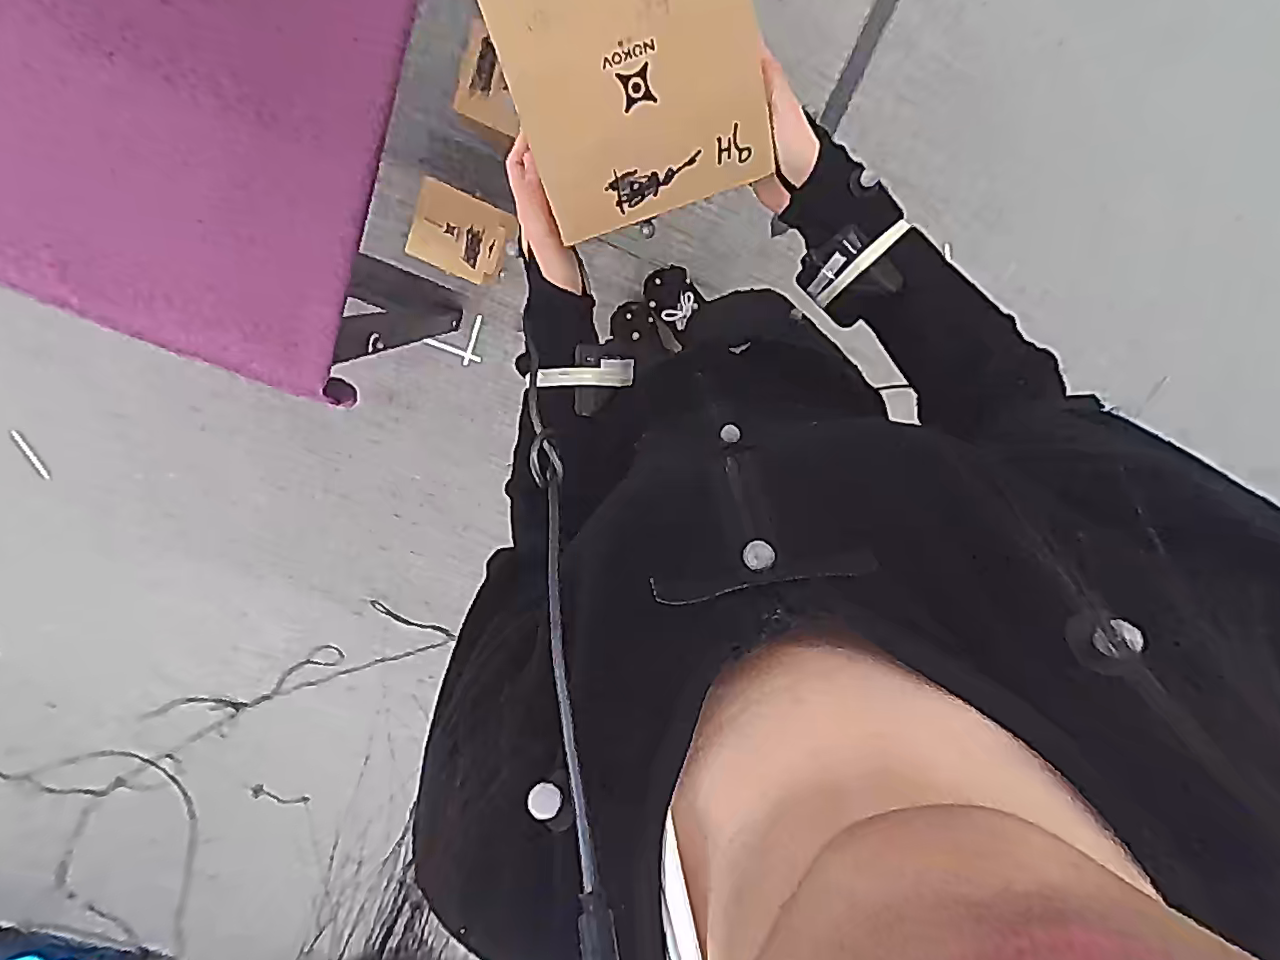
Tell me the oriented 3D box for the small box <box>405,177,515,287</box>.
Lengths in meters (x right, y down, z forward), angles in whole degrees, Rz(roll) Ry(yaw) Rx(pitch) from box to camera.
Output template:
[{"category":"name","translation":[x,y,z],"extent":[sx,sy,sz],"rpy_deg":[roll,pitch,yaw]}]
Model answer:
[{"category":"small box","translation":[-0.402,-0.559,1.237],"extent":[0.179,0.176,0.168],"rpy_deg":[22,108,-8]}]

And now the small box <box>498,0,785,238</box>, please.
[{"category":"small box","translation":[-0.002,-0.308,0.426],"extent":[0.168,0.176,0.179],"rpy_deg":[-16,118,4]}]
